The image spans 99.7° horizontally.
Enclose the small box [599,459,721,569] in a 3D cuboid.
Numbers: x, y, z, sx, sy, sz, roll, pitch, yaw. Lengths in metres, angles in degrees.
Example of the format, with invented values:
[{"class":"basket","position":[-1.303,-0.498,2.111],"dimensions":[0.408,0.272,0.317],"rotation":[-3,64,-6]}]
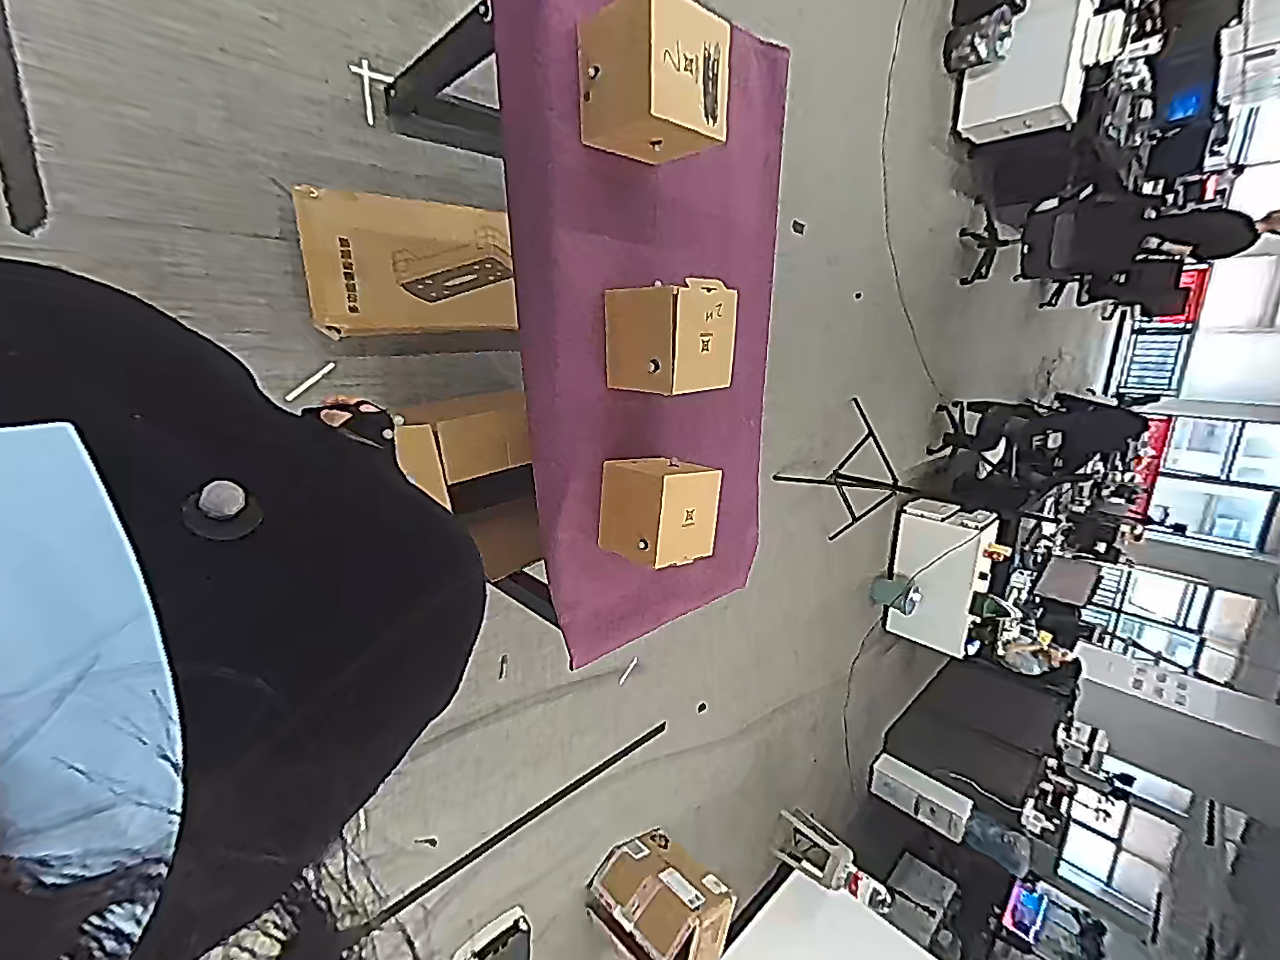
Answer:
[{"class":"small box","position":[0.035,0.056,1.060],"dimensions":[0.168,0.176,0.179],"rotation":[-6,105,-44]}]

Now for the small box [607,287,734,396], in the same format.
[{"class":"small box","position":[0.052,-0.254,0.988],"dimensions":[0.168,0.176,0.179],"rotation":[-16,112,-44]}]
